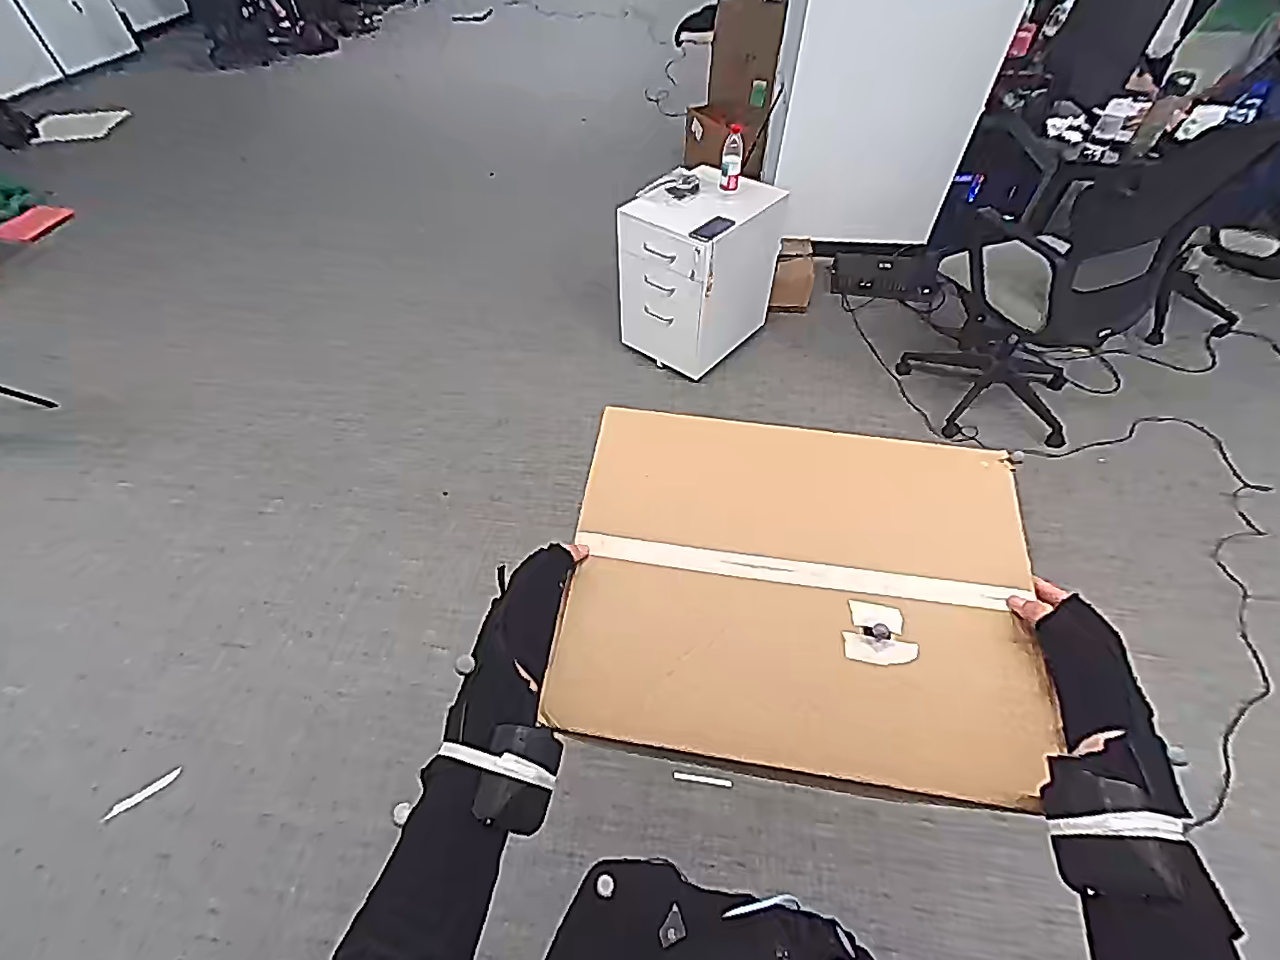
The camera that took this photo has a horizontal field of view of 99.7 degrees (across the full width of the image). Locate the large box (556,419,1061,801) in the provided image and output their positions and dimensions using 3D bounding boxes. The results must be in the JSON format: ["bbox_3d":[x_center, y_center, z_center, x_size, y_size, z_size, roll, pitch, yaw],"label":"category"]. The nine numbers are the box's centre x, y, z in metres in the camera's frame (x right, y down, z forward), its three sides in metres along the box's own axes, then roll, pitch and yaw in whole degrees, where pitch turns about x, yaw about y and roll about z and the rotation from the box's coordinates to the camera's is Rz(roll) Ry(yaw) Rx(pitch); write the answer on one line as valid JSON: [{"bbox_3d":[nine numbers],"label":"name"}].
[{"bbox_3d":[0.146,0.158,0.624,0.408,0.320,0.320,7,63,5],"label":"large box"}]
